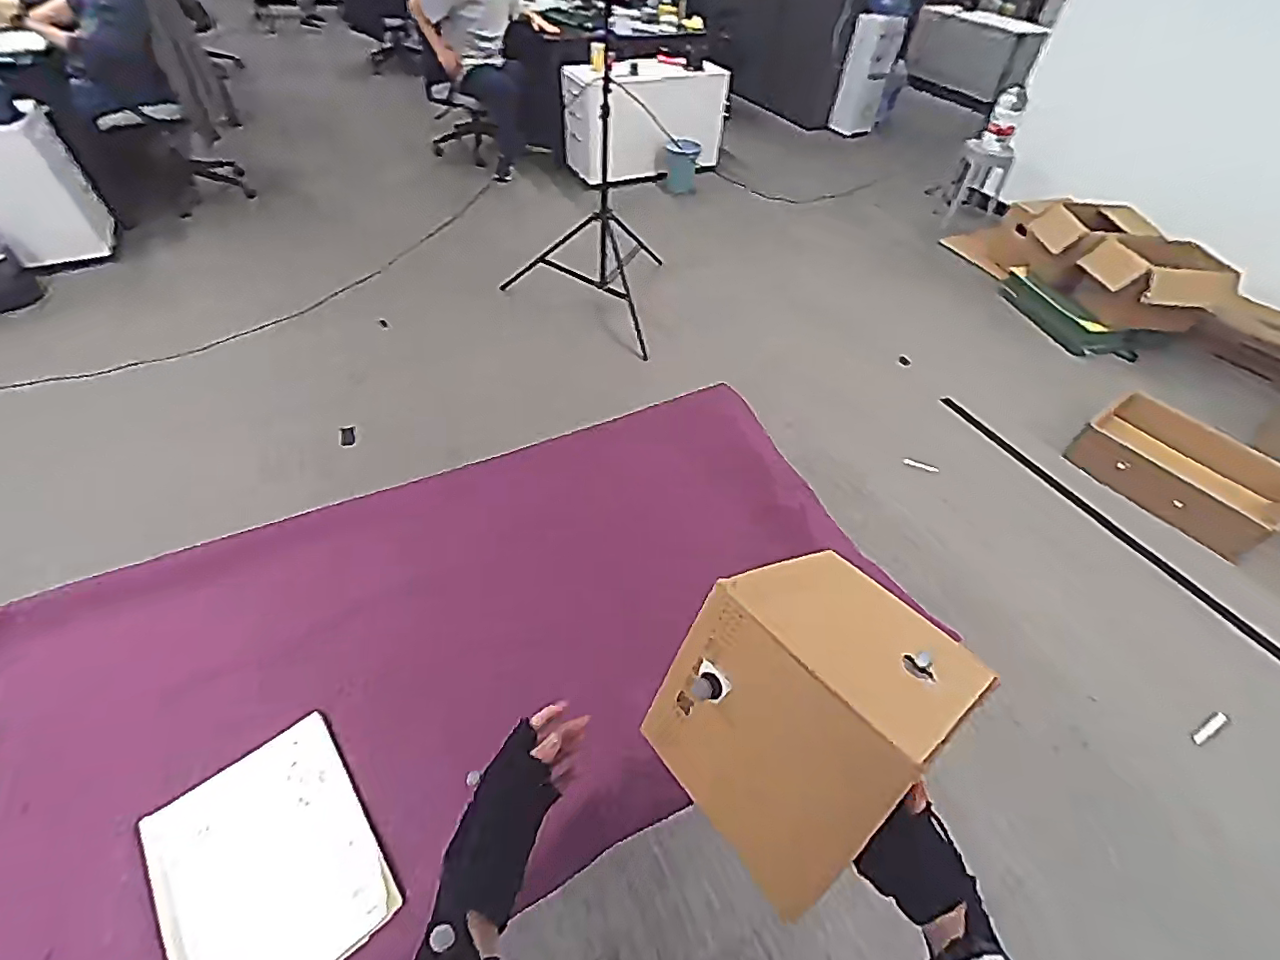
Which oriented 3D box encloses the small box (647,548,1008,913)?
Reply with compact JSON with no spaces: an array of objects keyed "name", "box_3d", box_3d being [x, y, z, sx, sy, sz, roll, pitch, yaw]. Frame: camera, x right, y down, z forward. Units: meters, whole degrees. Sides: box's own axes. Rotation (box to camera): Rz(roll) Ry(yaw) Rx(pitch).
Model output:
[{"name":"small box","box_3d":[0.138,0.169,0.428,0.179,0.168,0.176,-3,32,-42]}]
